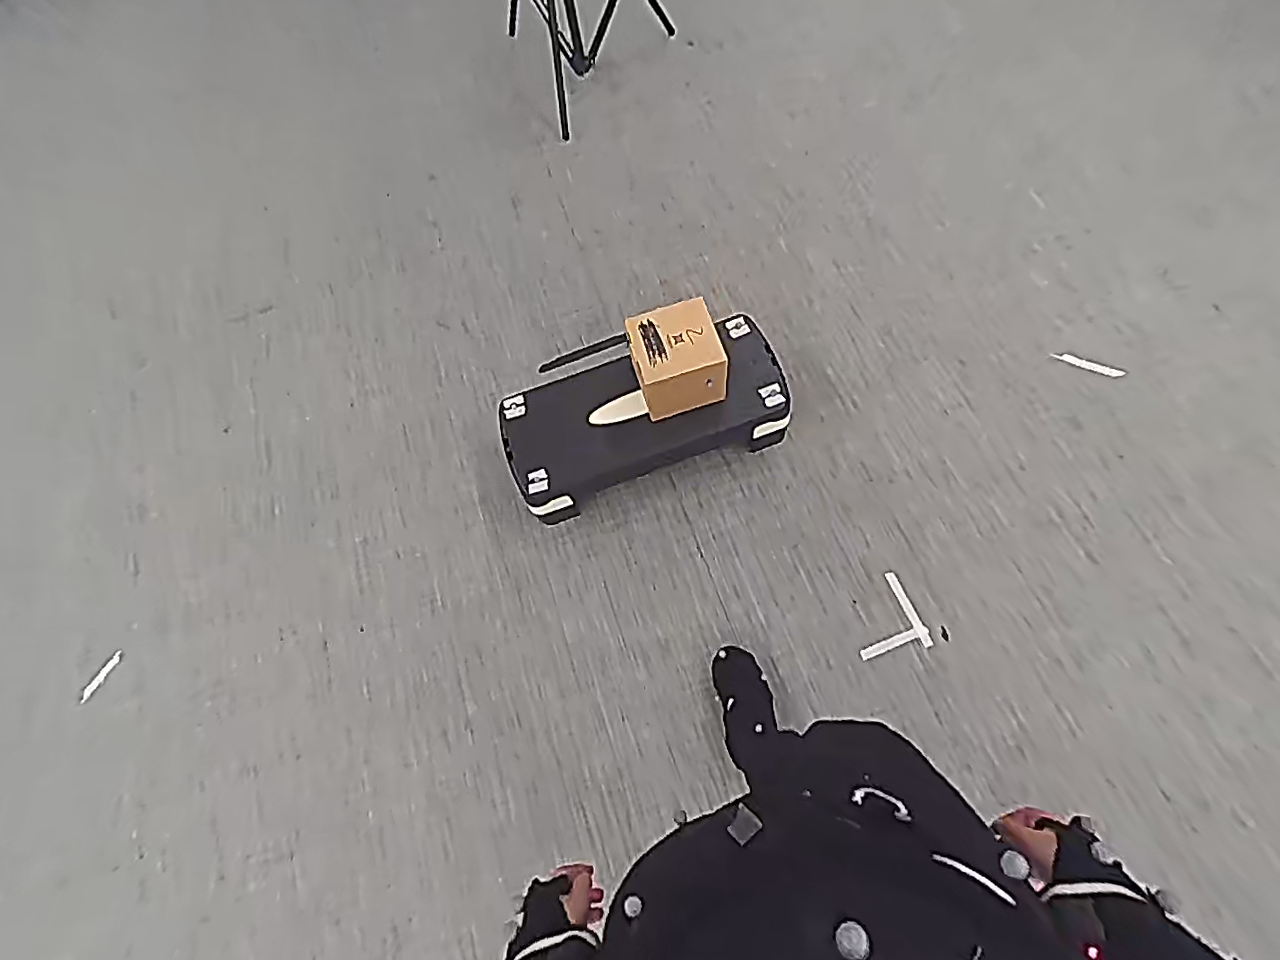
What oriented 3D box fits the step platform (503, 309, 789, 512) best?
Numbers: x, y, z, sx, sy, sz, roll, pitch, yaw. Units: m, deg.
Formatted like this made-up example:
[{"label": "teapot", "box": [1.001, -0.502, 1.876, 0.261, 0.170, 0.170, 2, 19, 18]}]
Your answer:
[{"label": "step platform", "box": [0.013, -0.170, 1.344, 0.684, 0.204, 0.286, -20, 69, 0]}]
